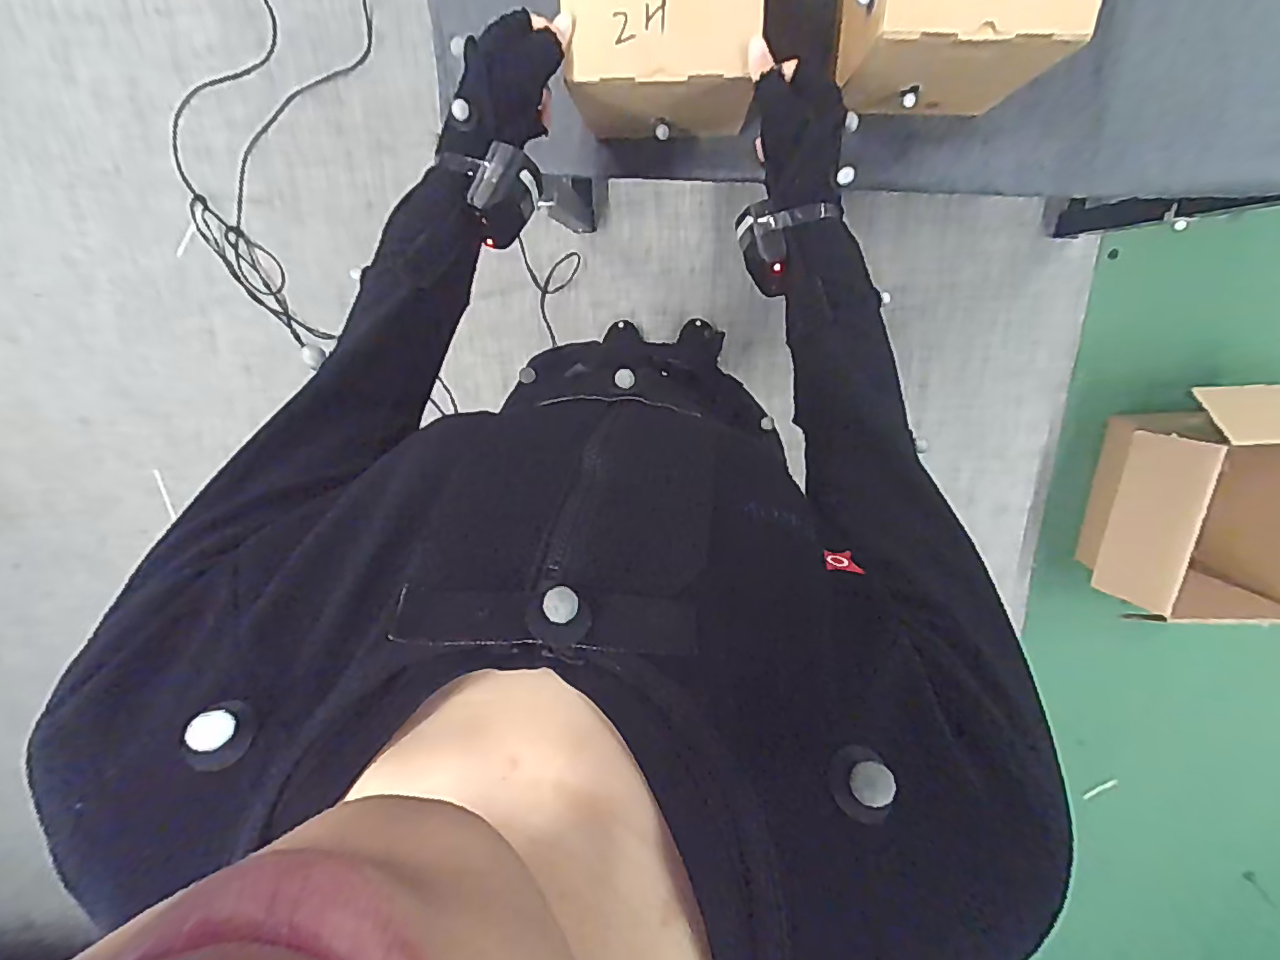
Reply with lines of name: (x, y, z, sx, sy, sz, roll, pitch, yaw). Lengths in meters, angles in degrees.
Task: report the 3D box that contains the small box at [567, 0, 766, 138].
small box: (0.025, -0.444, 0.505, 0.168, 0.176, 0.179, 1, 109, 4)
